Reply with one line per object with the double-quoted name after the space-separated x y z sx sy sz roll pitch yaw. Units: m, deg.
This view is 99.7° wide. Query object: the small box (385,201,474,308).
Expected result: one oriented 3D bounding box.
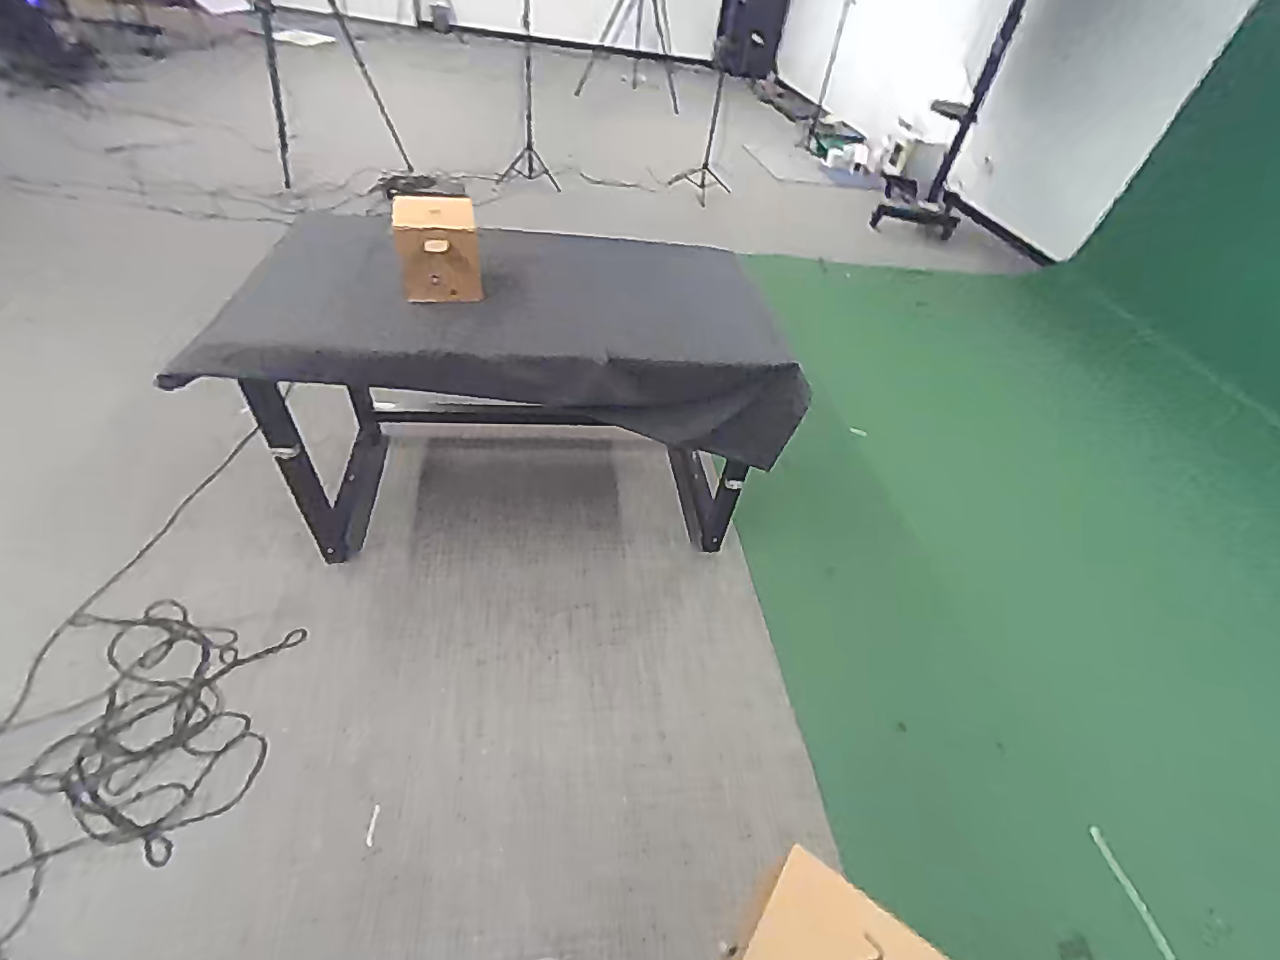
-0.471 -0.507 1.222 0.168 0.176 0.179 -7 47 -17 "small box"
